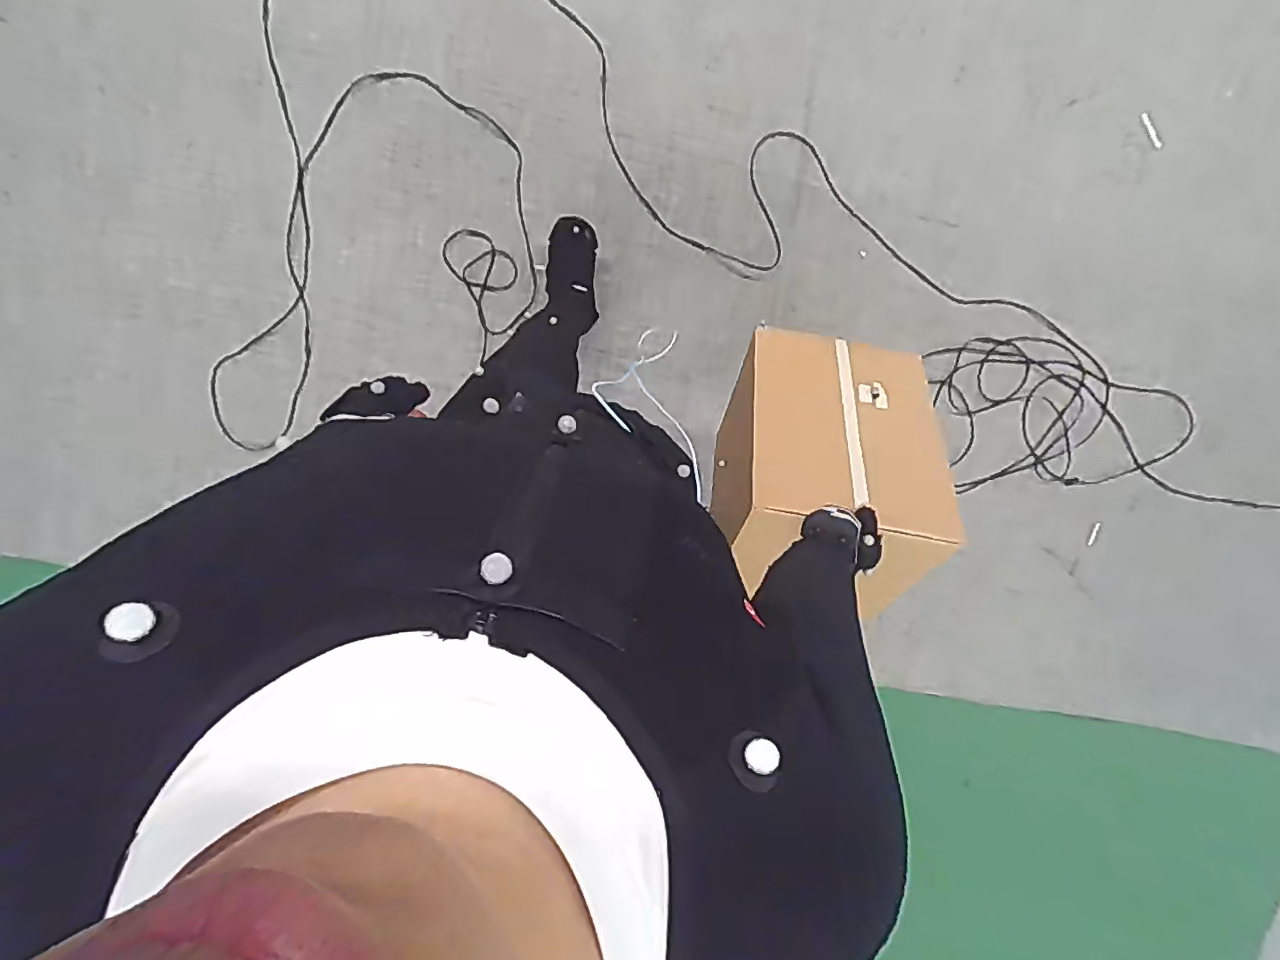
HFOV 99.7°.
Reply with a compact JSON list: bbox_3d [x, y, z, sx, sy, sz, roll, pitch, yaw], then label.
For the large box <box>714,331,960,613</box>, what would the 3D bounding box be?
[{"bbox_3d":[0.324,-0.009,1.014,0.320,0.408,0.320,11,144,-1],"label":"large box"}]
